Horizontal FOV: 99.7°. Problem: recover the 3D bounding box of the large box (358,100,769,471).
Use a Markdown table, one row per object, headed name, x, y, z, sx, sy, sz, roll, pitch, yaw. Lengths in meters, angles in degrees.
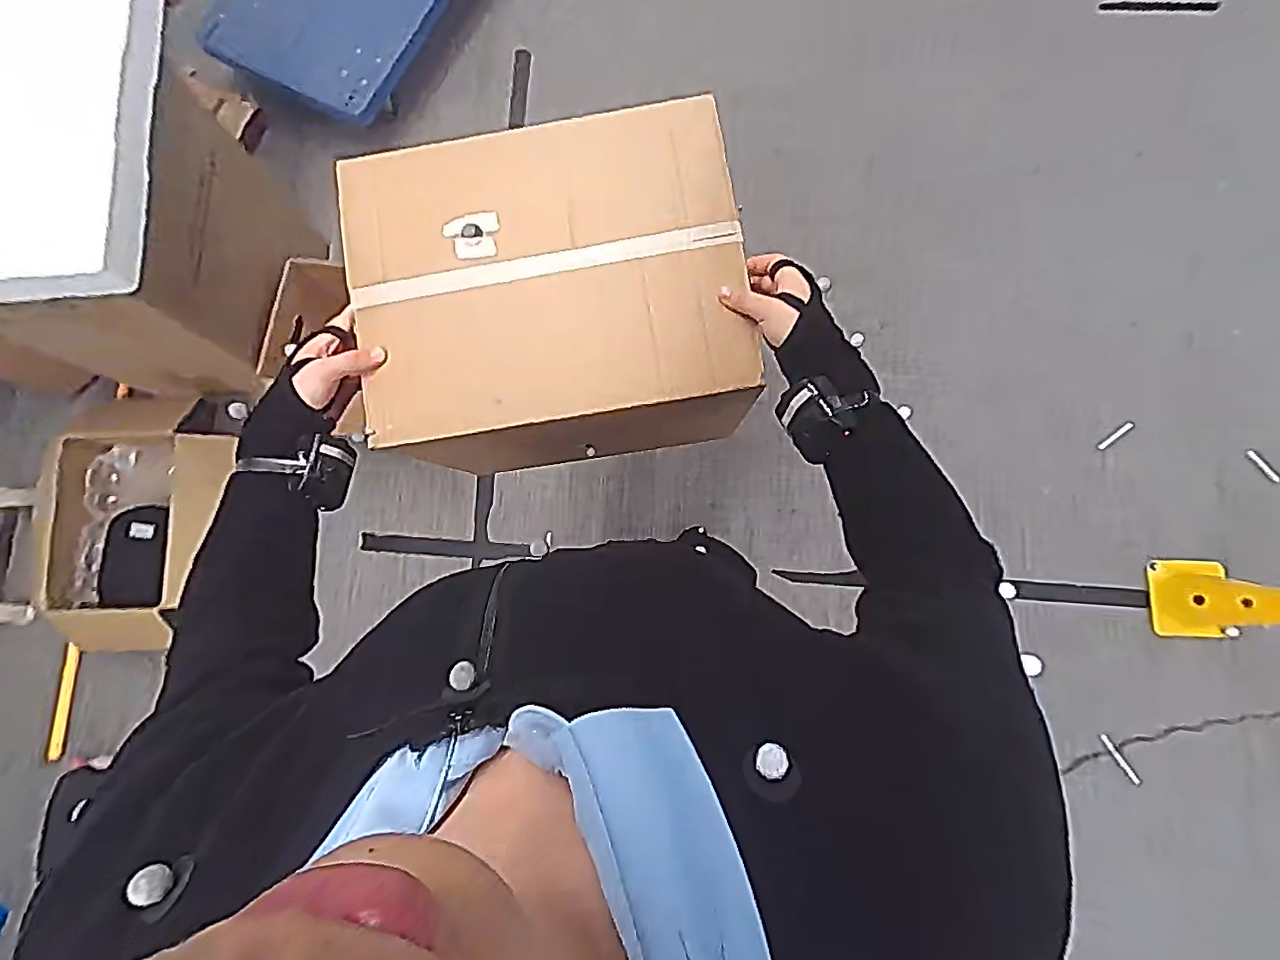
| name | x | y | z | sx | sy | sz | roll | pitch | yaw |
| --- | --- | --- | --- | --- | --- | --- | --- | --- | --- |
| large box | -0.077 | -0.205 | 0.709 | 0.408 | 0.320 | 0.320 | -9 | 84 | 3 |
